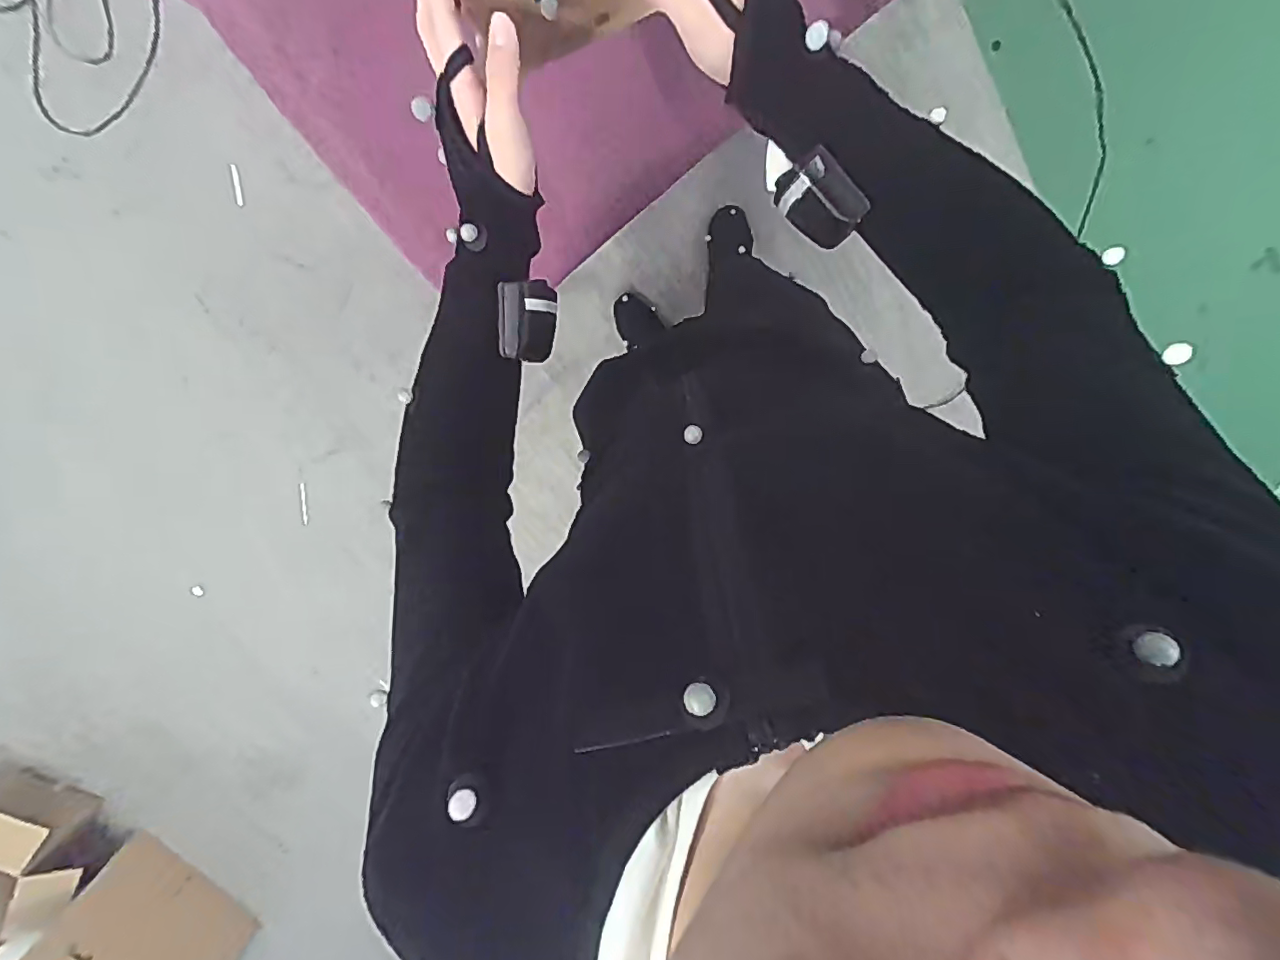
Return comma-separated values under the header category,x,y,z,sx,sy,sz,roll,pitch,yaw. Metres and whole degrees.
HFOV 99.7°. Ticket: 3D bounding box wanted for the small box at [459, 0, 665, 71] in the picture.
category,x,y,z,sx,sy,sz,roll,pitch,yaw
small box,-0.081,-0.458,0.410,0.168,0.176,0.179,-21,101,6
